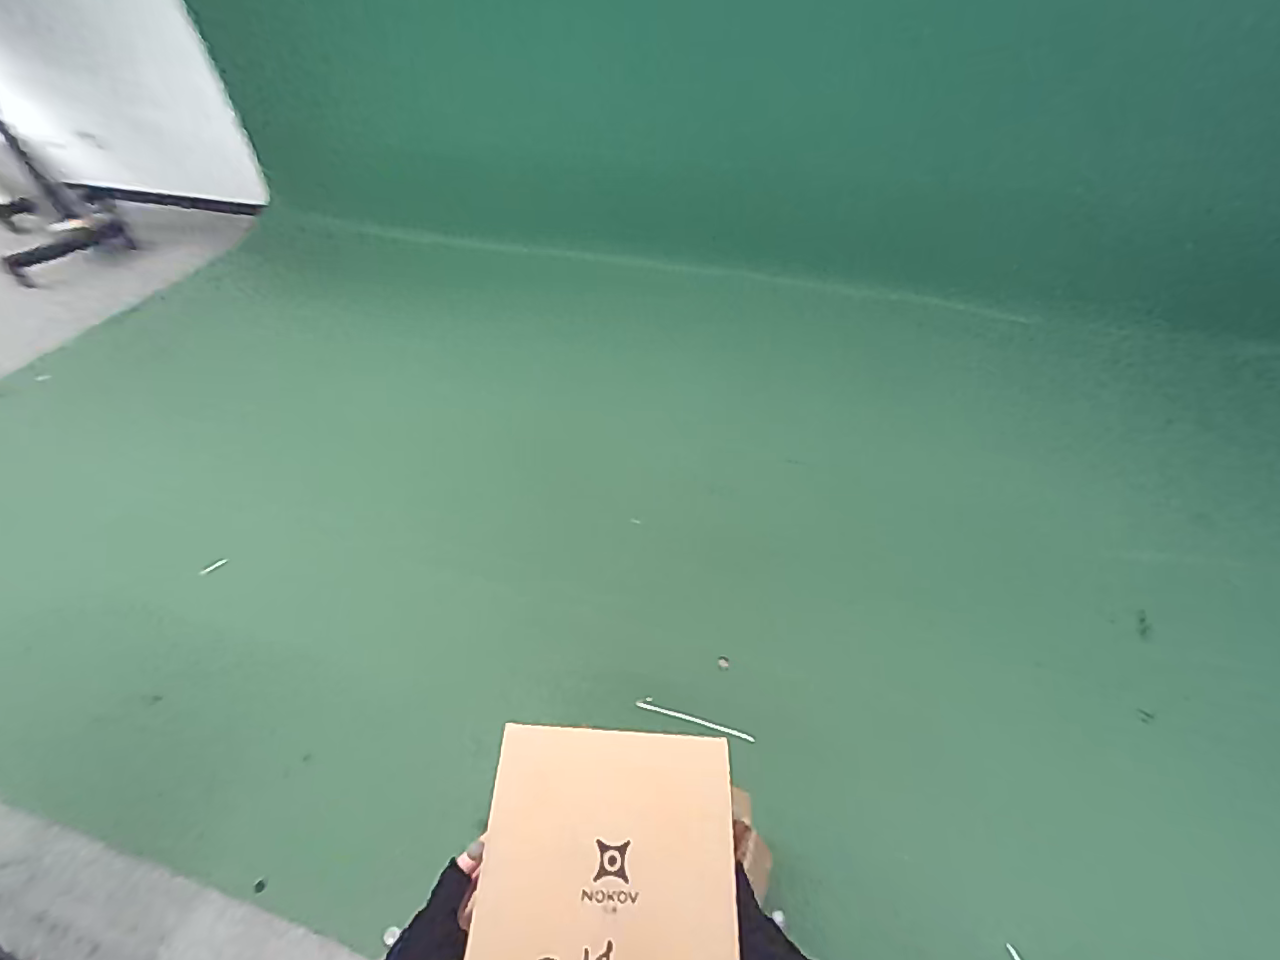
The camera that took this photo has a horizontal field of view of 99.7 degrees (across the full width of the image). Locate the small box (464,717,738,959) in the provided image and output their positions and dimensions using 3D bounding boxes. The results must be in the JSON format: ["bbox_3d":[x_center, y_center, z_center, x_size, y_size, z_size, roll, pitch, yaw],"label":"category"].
[{"bbox_3d":[-0.029,0.296,0.410,0.168,0.176,0.179,5,54,-4],"label":"small box"}]
